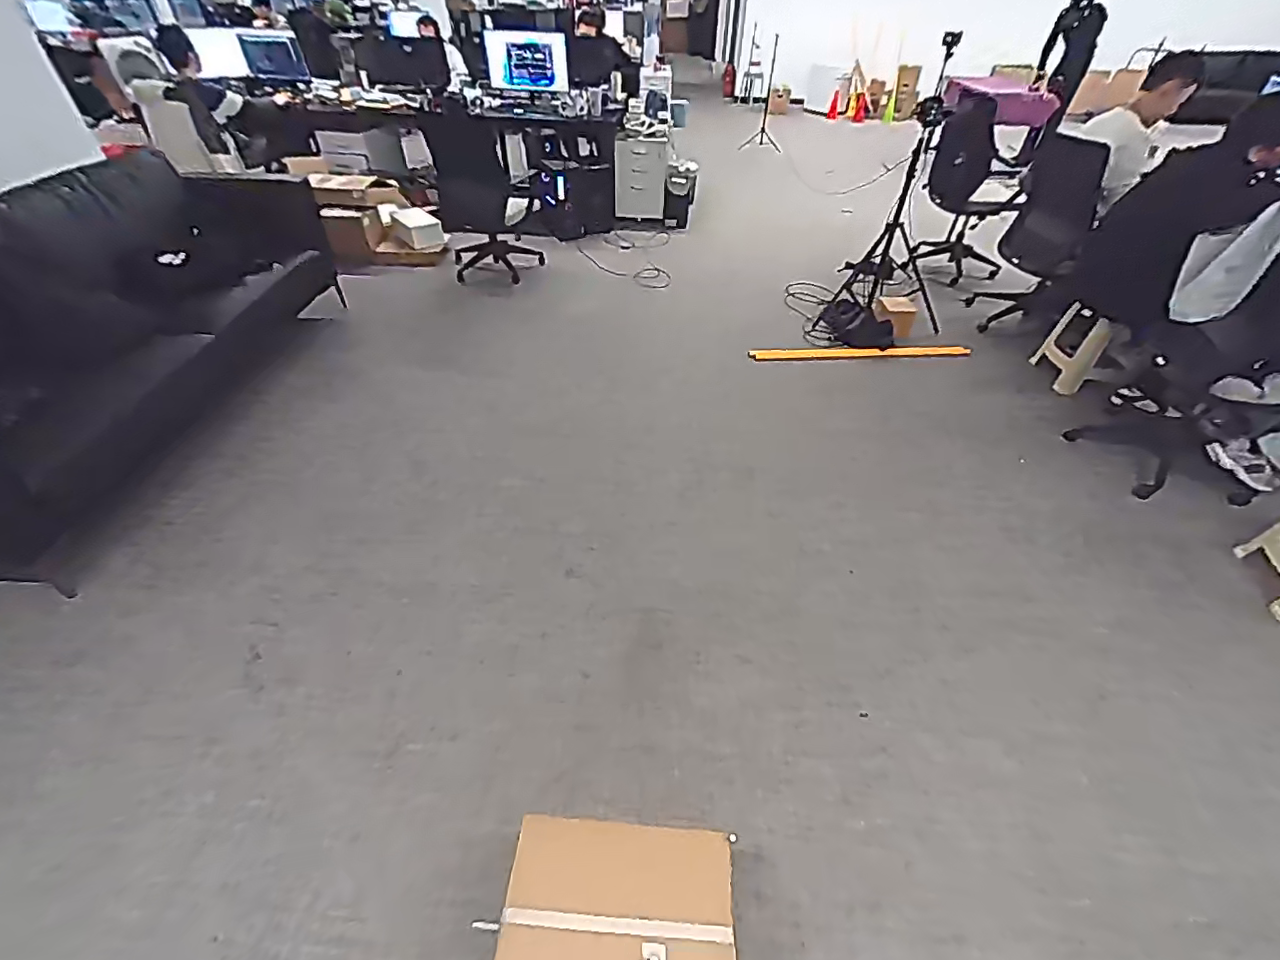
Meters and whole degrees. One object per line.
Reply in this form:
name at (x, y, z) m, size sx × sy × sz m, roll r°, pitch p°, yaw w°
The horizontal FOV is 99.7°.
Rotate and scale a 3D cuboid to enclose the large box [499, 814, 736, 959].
large box at (-0.038, 0.880, 1.041) m, size 0.408 × 0.320 × 0.320 m, roll 3°, pitch 43°, yaw 3°
